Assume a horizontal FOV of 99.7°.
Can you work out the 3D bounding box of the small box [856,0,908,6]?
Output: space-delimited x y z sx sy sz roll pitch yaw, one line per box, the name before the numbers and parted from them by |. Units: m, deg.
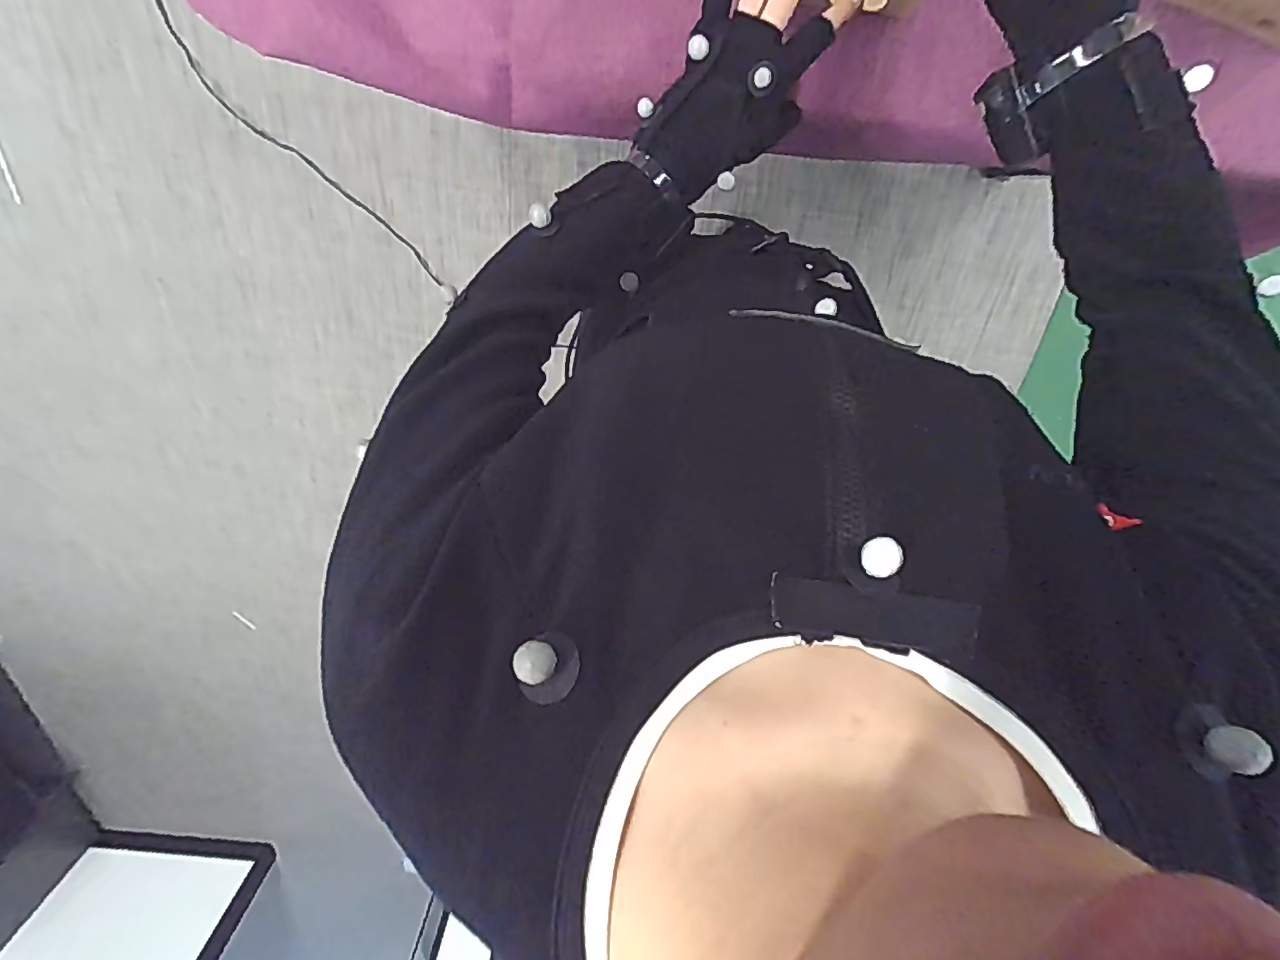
small box | 0.177 -0.489 0.400 0.168 0.176 0.179 6 118 -1
